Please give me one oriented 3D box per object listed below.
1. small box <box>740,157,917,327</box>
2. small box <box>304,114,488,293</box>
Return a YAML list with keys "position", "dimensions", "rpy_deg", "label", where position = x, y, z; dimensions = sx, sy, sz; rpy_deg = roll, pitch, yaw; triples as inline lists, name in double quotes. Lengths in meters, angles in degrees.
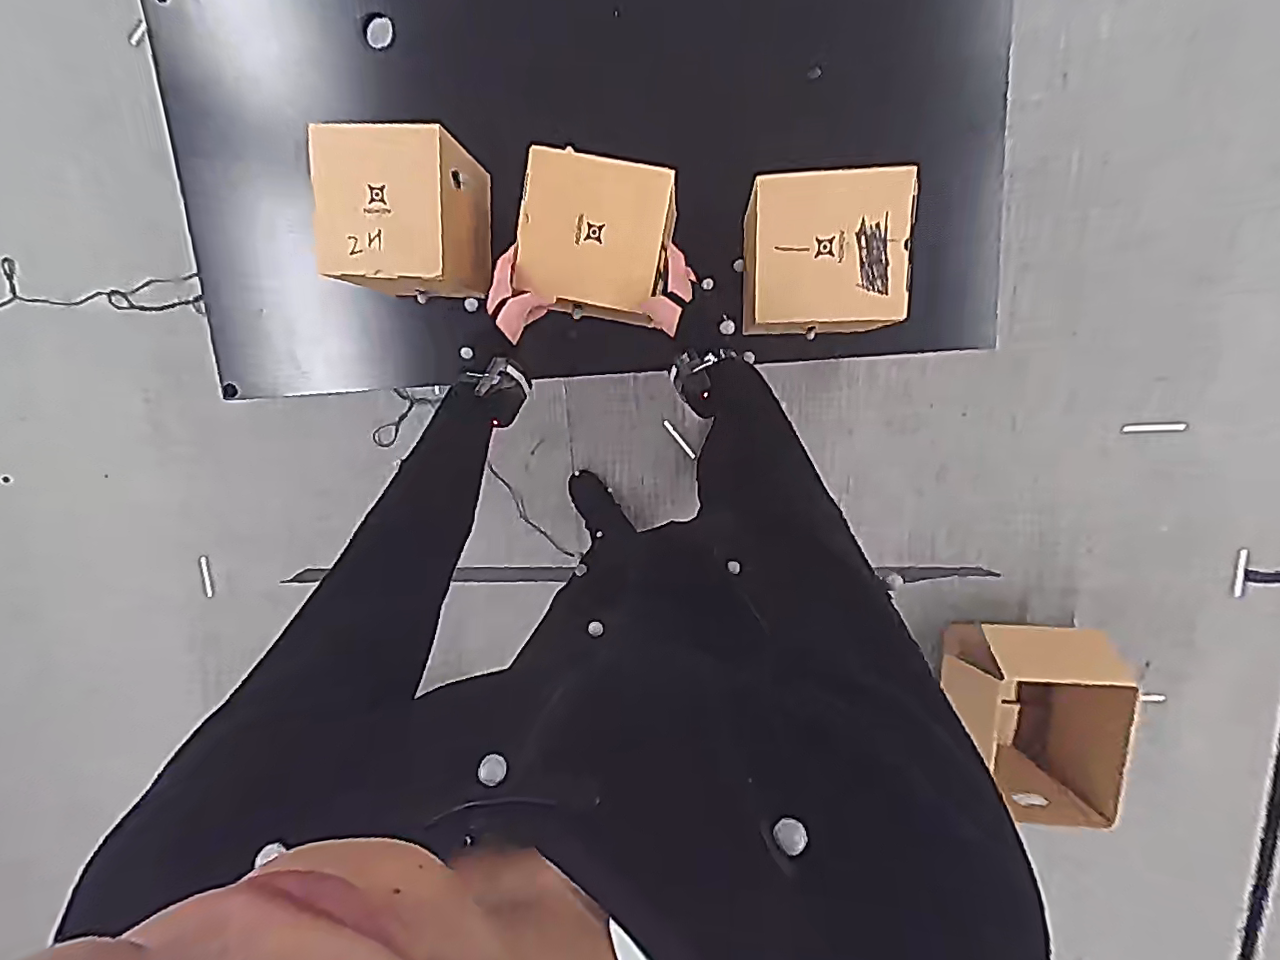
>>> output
- position: [0.225, -0.289, 0.690]
  dimensions: [0.179, 0.176, 0.168]
  rpy_deg: [0, 101, 6]
  label: "small box"
- position: [-0.313, -0.357, 0.726]
  dimensions: [0.168, 0.176, 0.179]
  rpy_deg: [3, 102, 5]
  label: "small box"
